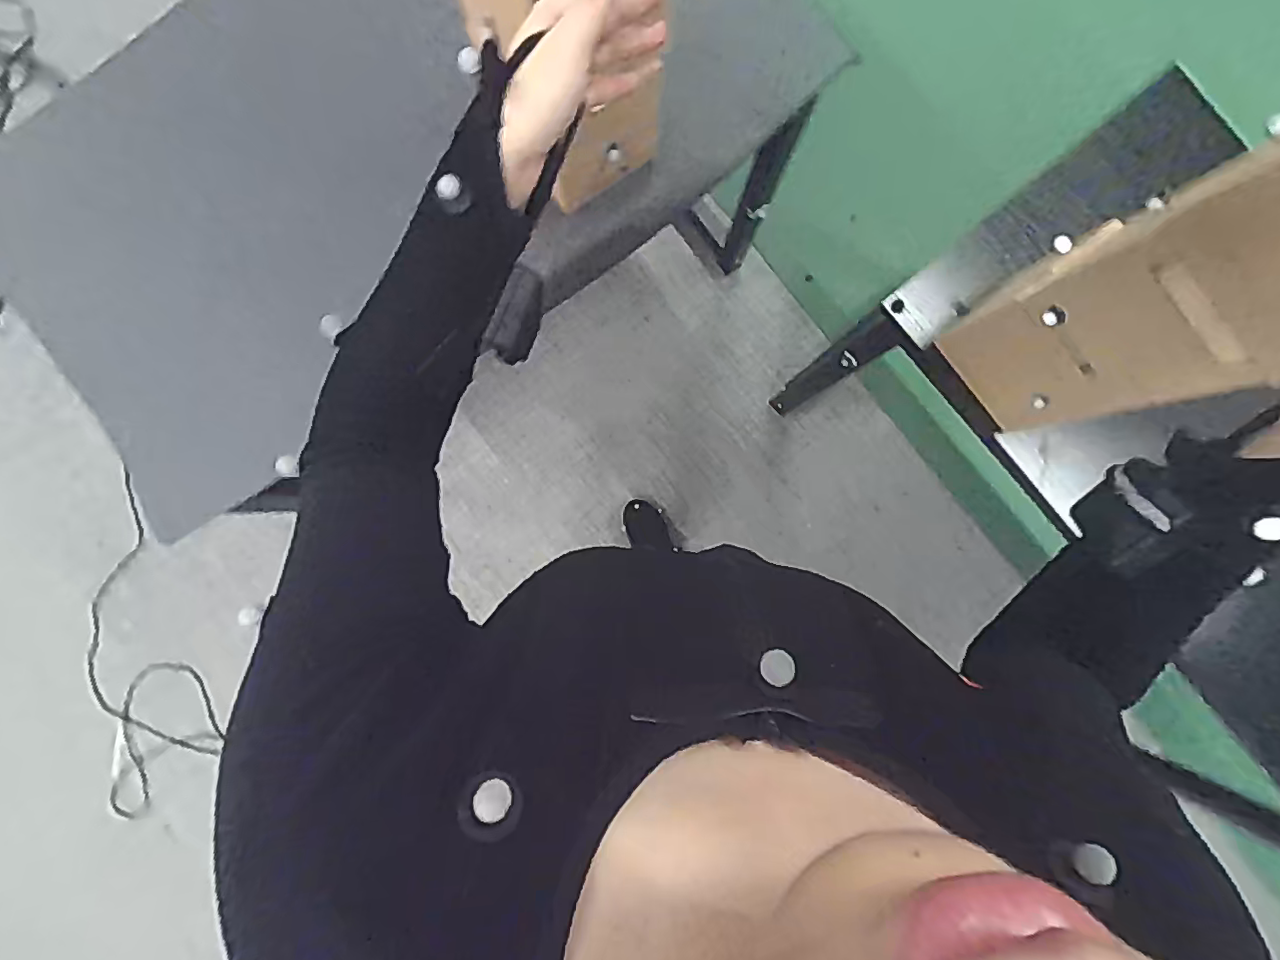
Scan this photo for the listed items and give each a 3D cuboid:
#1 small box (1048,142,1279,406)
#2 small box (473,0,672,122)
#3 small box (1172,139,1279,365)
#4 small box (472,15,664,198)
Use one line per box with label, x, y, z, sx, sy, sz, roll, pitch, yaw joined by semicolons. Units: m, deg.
small box;0.564;-0.195;0.544;0.179;0.176;0.168;-35;90;-3
small box;-0.076;-0.526;0.550;0.179;0.176;0.168;-37;87;-1
small box;0.561;-0.196;0.381;0.168;0.176;0.179;-35;89;-4
small box;-0.084;-0.510;0.712;0.168;0.176;0.179;-35;88;-2
